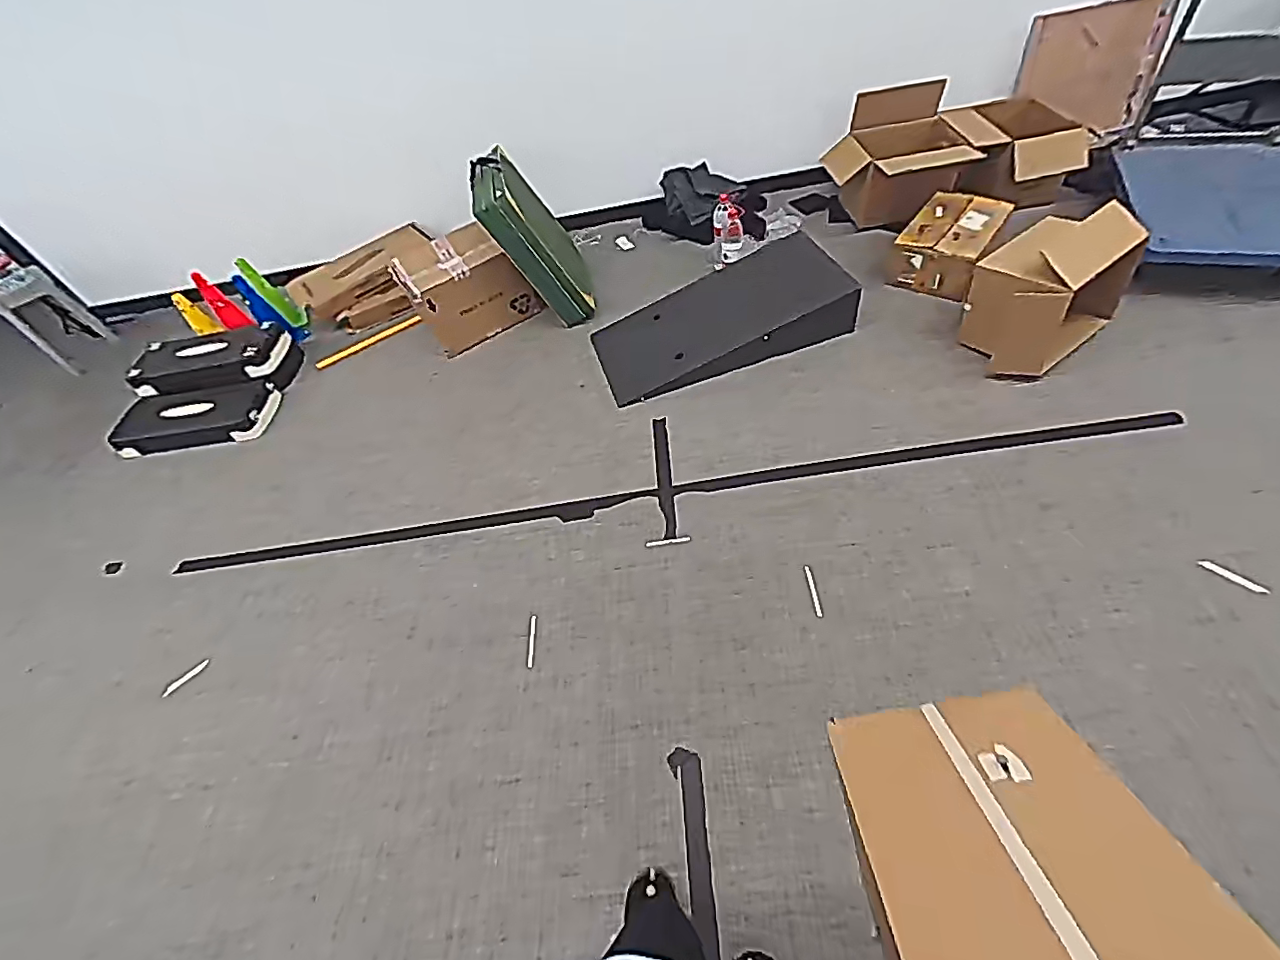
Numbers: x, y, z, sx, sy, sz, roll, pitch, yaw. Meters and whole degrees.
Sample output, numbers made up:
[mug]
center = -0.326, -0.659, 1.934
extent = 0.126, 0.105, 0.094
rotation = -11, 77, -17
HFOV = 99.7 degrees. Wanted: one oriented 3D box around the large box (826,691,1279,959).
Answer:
[large box]
center = 0.472, 0.552, 0.697
extent = 0.320, 0.320, 0.408
rotation = -13, 14, 9
